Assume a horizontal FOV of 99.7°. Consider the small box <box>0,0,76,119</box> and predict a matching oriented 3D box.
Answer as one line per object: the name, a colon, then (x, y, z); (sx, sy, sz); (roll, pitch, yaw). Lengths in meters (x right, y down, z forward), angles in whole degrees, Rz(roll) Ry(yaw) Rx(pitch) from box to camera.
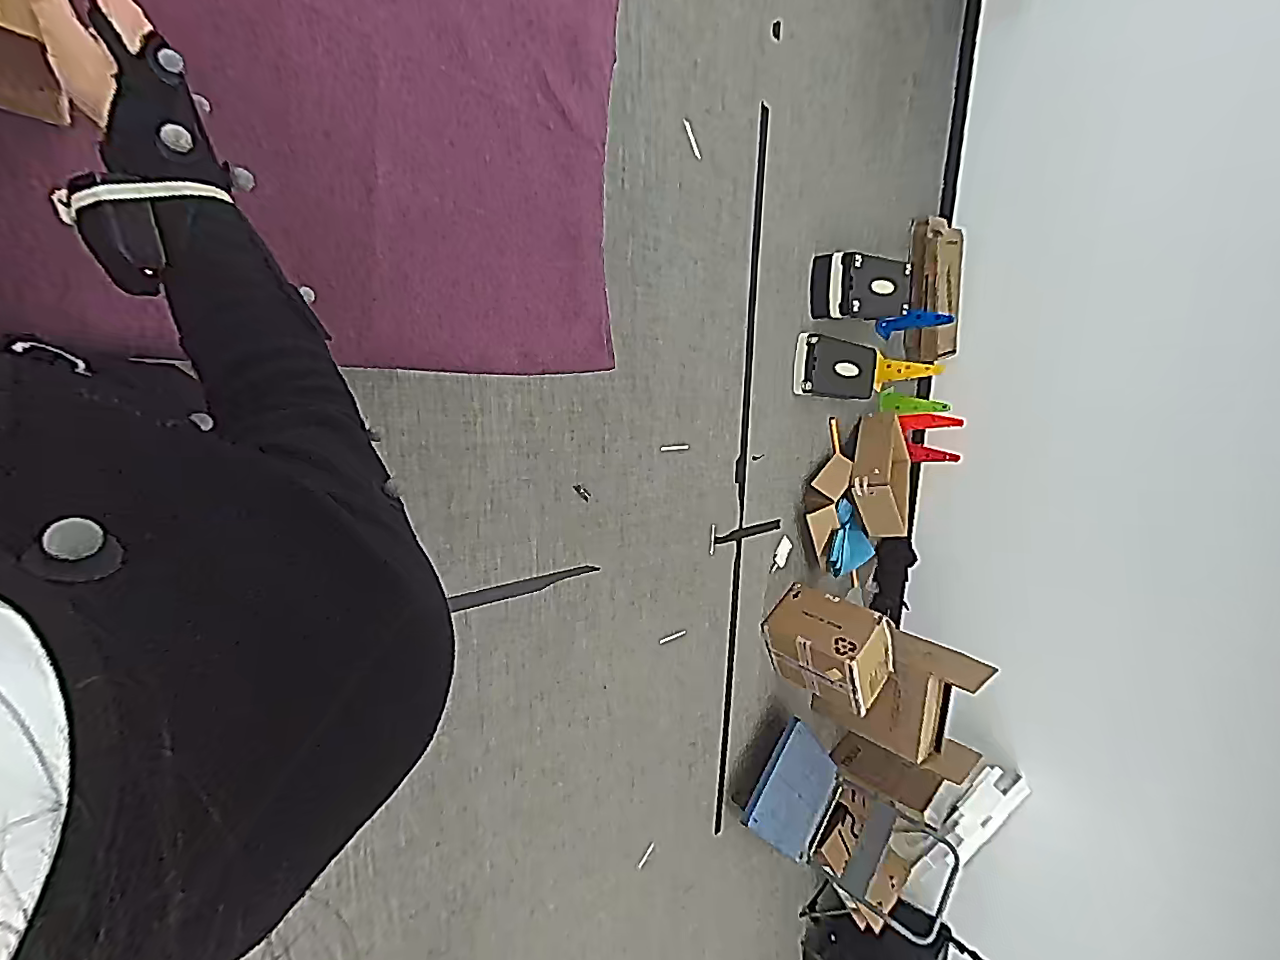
small box: (-0.456, -0.361, 0.319); (0.168, 0.176, 0.179); (-2, 100, -44)
